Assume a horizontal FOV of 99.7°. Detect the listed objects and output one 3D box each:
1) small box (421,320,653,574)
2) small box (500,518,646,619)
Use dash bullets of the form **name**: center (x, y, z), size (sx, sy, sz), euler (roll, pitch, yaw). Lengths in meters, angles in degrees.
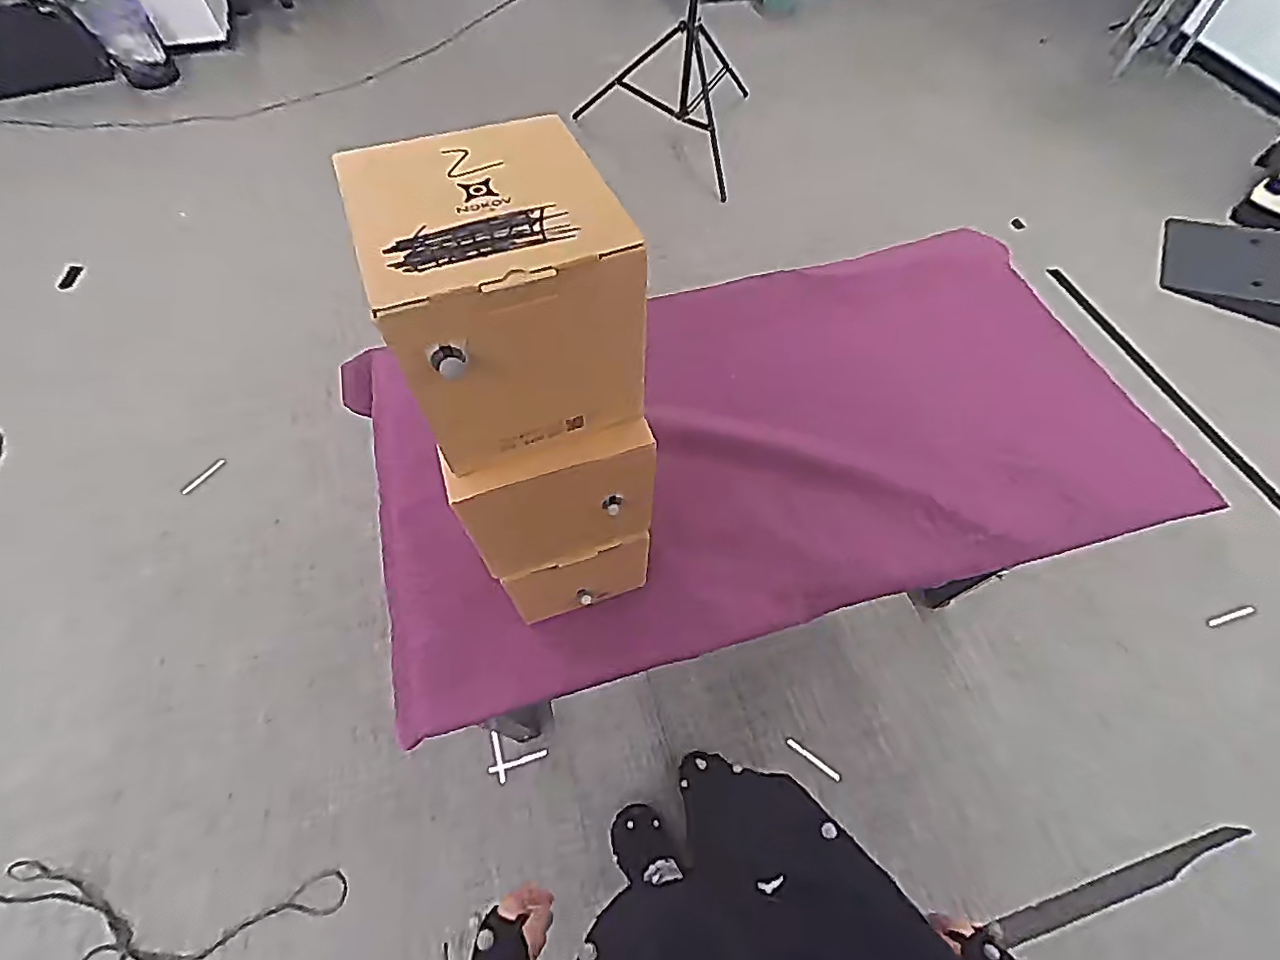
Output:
- **small box**: center (-0.098, -0.027, 0.551), size (0.179, 0.176, 0.168), euler (-18, 61, -11)
- **small box**: center (-0.100, 0.054, 0.691), size (0.168, 0.176, 0.179), euler (-17, 62, -11)
